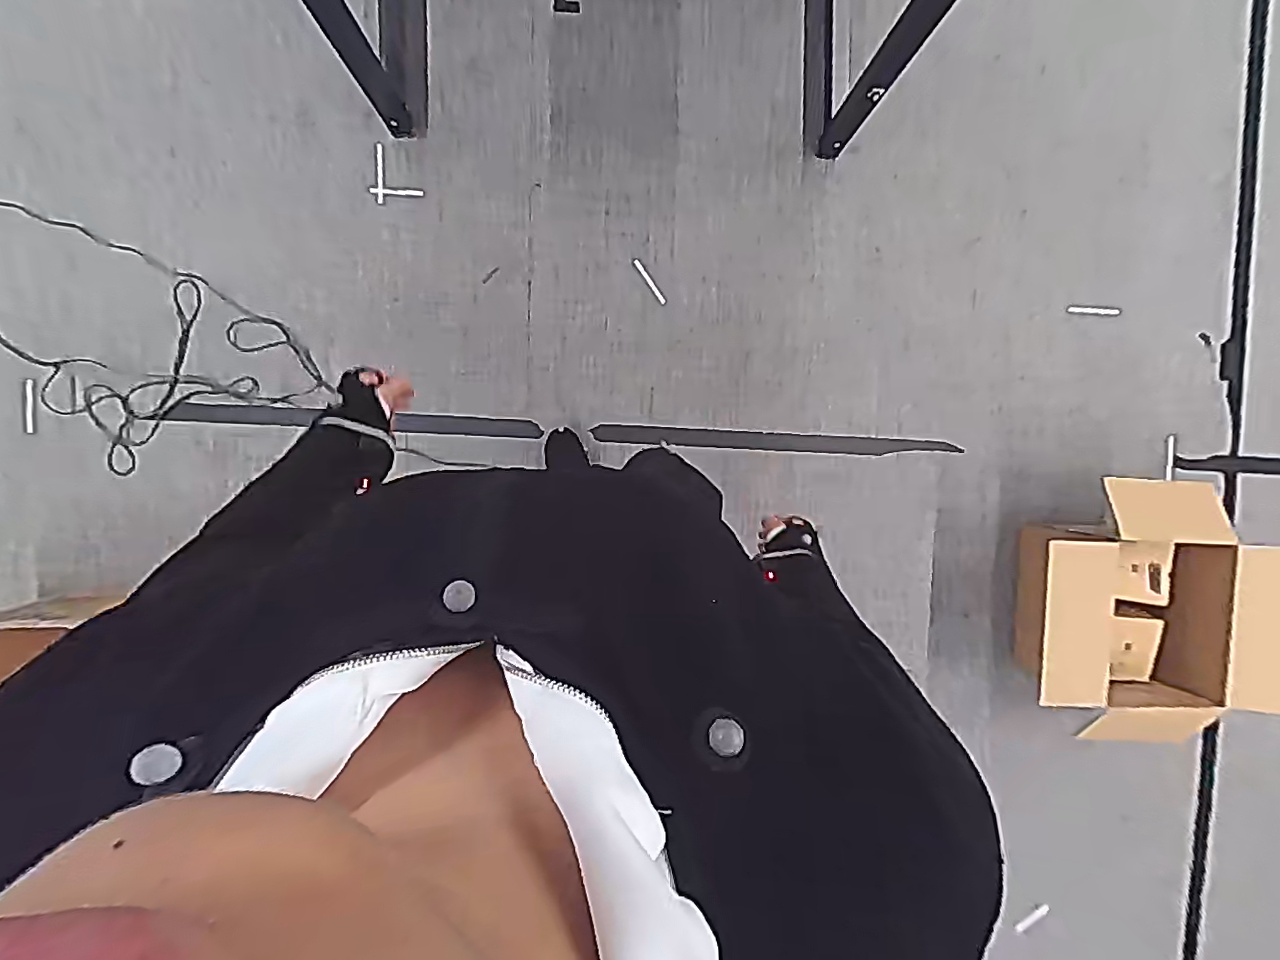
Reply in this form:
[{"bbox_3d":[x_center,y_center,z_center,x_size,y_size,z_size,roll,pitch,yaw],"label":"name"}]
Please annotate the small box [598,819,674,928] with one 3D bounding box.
[{"bbox_3d":[-0.013,1.028,1.423,0.179,0.176,0.168,6,90,-3],"label":"small box"}]
